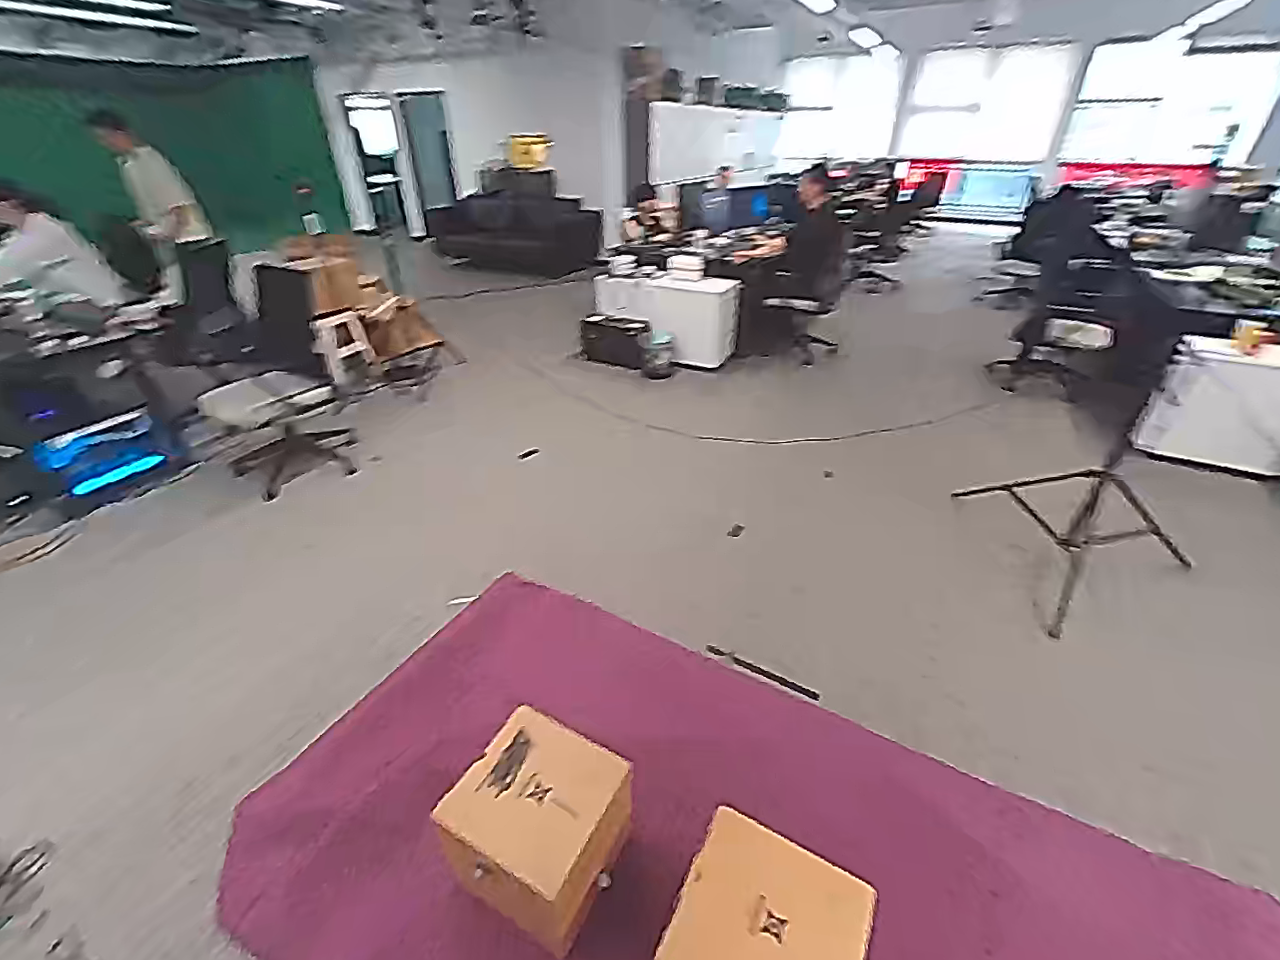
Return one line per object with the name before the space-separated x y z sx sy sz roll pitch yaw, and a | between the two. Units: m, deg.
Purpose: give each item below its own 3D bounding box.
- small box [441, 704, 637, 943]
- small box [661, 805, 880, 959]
small box | -0.118 0.433 0.690 0.179 0.176 0.168 17 37 24
small box | 0.135 0.505 0.580 0.179 0.176 0.168 16 36 25
